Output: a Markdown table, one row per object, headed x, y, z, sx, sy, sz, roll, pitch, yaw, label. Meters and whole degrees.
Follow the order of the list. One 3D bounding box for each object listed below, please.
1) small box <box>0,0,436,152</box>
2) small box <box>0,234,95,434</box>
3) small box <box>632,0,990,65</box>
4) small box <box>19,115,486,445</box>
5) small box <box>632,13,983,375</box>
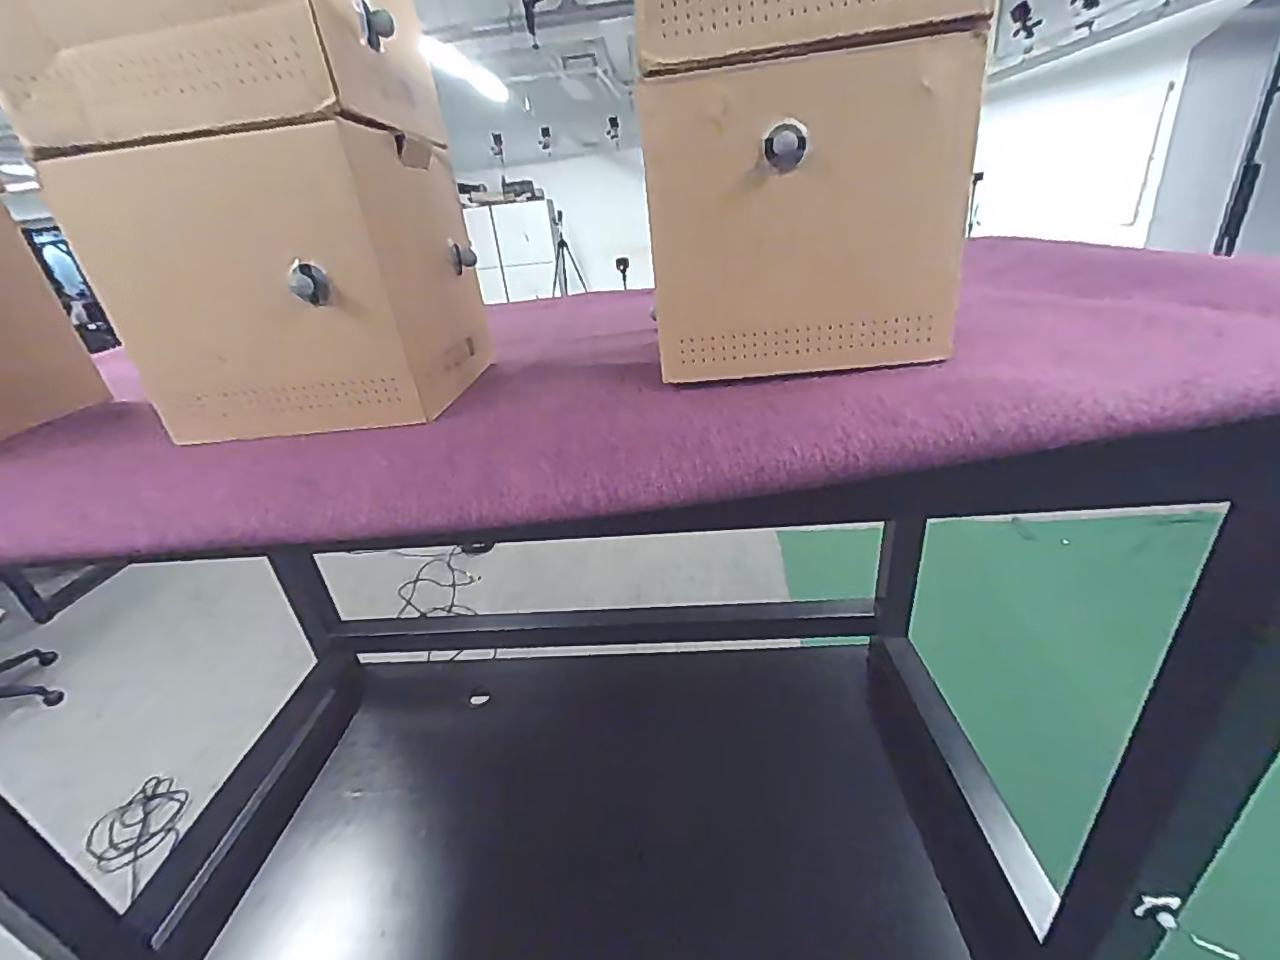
| x | y | z | sx | sy | sz | roll | pitch | yaw | label |
| --- | --- | --- | --- | --- | --- | --- | --- | --- | --- |
| -0.245 | -0.282 | 0.308 | 0.179 | 0.176 | 0.168 | -5 | 27 | 2 | small box |
| -0.566 | -0.101 | 0.379 | 0.168 | 0.176 | 0.179 | -4 | 28 | 3 | small box |
| 0.082 | -0.323 | 0.304 | 0.179 | 0.176 | 0.168 | -4 | 25 | 8 | small box |
| -0.225 | -0.135 | 0.379 | 0.179 | 0.176 | 0.168 | -6 | 26 | 4 | small box |
| 0.096 | -0.174 | 0.372 | 0.179 | 0.176 | 0.168 | -3 | 25 | 7 | small box |
